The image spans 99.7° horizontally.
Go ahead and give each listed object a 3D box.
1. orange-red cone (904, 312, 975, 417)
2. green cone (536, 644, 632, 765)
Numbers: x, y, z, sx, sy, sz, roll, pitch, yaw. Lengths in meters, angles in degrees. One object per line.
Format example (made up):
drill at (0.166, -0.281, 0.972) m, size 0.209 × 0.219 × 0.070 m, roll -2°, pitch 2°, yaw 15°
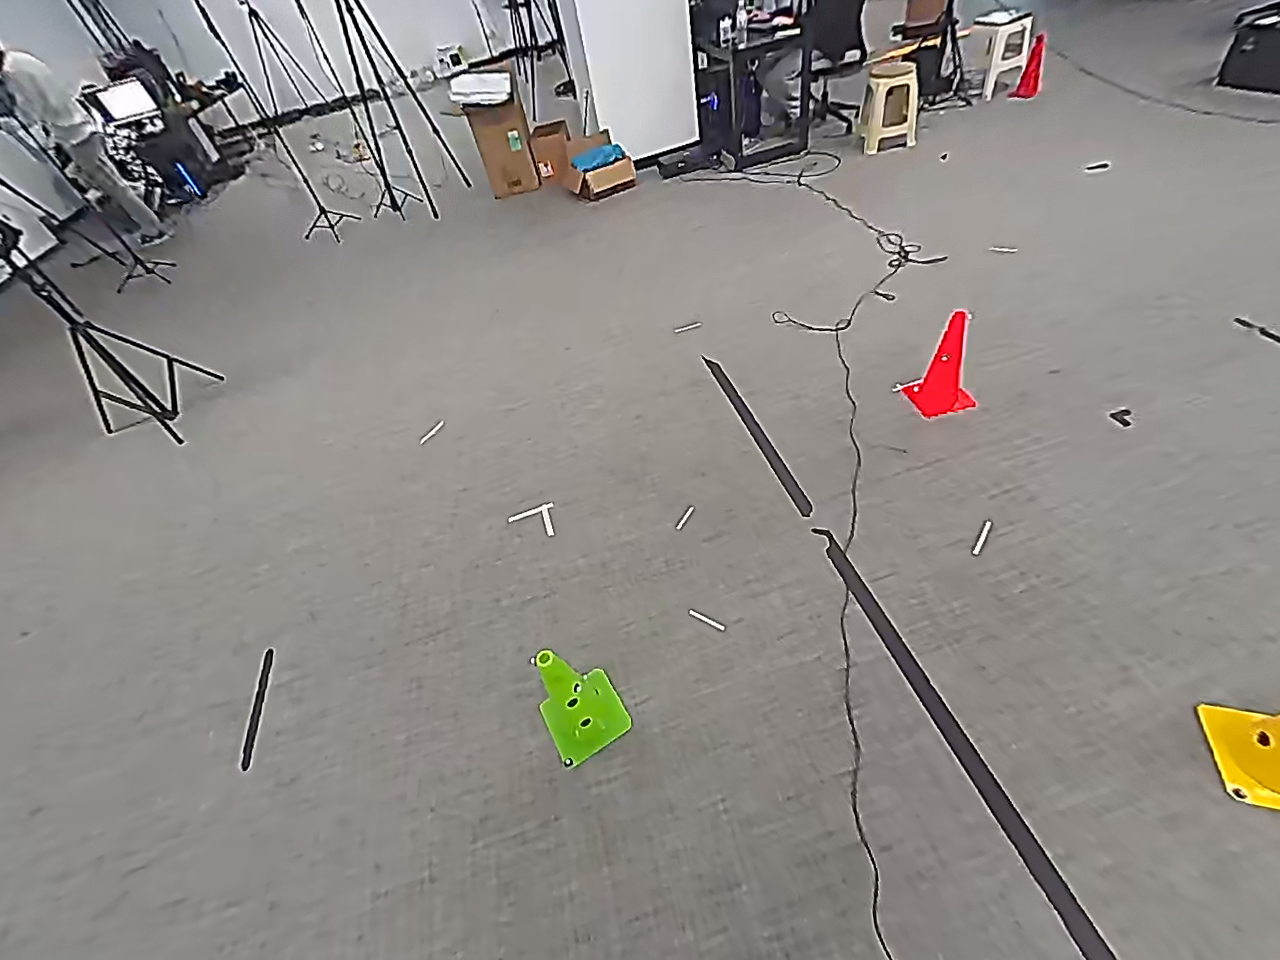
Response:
orange-red cone at (1.099, -0.429, 1.919) m, size 0.198 × 0.360 × 0.199 m, roll -13°, pitch 46°, yaw 2°
green cone at (-0.176, 0.511, 1.334) m, size 0.200 × 0.368 × 0.202 m, roll -29°, pitch 45°, yaw -15°
